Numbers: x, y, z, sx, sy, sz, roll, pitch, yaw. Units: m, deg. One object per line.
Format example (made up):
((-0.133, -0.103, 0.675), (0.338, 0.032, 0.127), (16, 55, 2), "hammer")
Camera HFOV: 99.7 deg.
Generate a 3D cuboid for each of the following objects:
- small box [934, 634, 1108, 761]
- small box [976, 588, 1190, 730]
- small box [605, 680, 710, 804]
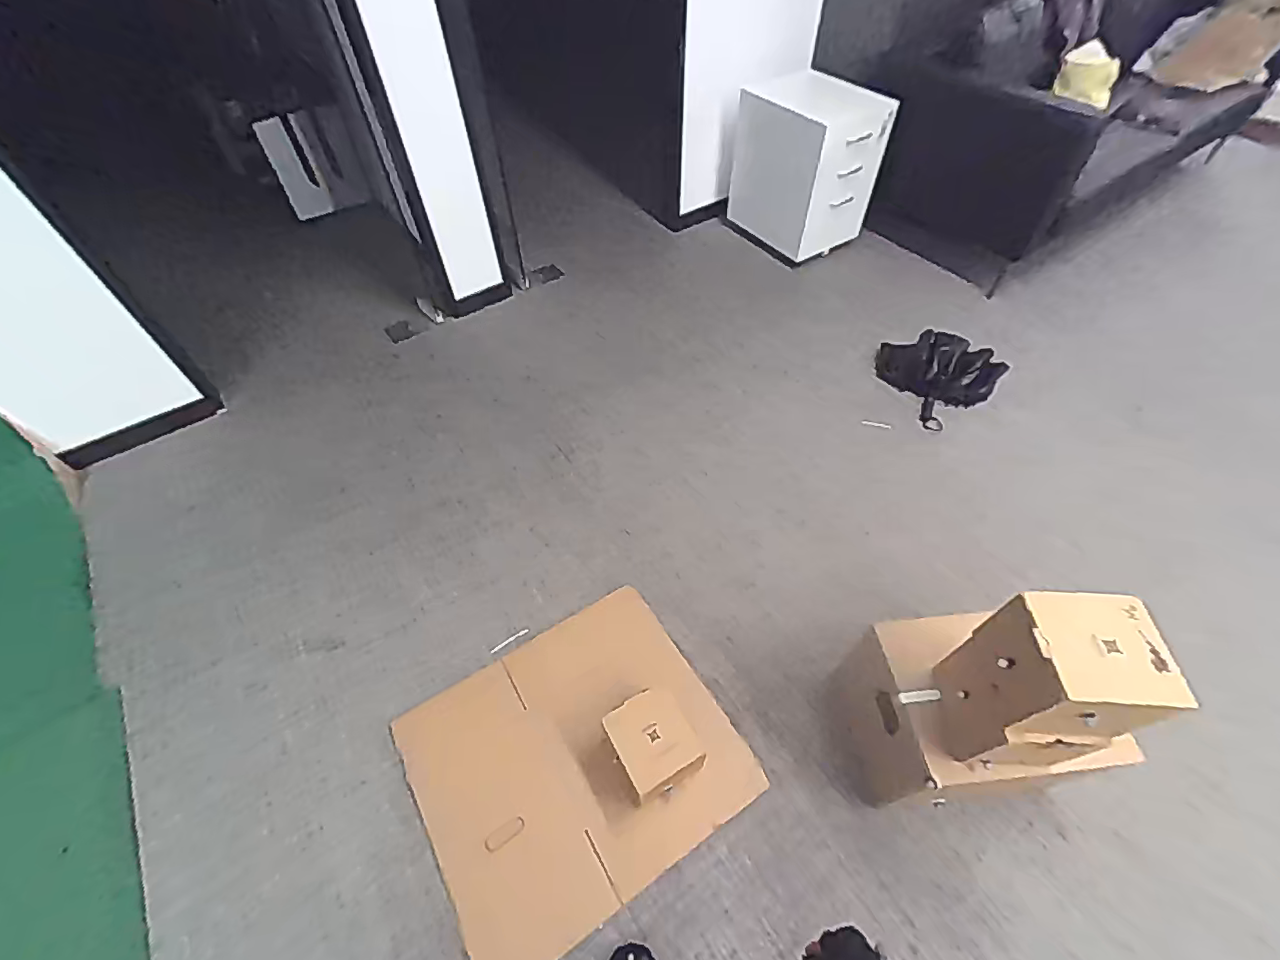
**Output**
((0.659, 0.391, 0.964), (0.168, 0.176, 0.179), (1, 52, 2), "small box")
((0.662, 0.283, 0.844), (0.179, 0.176, 0.168), (0, 50, 1), "small box")
((0.036, 0.586, 1.205), (0.168, 0.176, 0.179), (-26, 56, -17), "small box")
